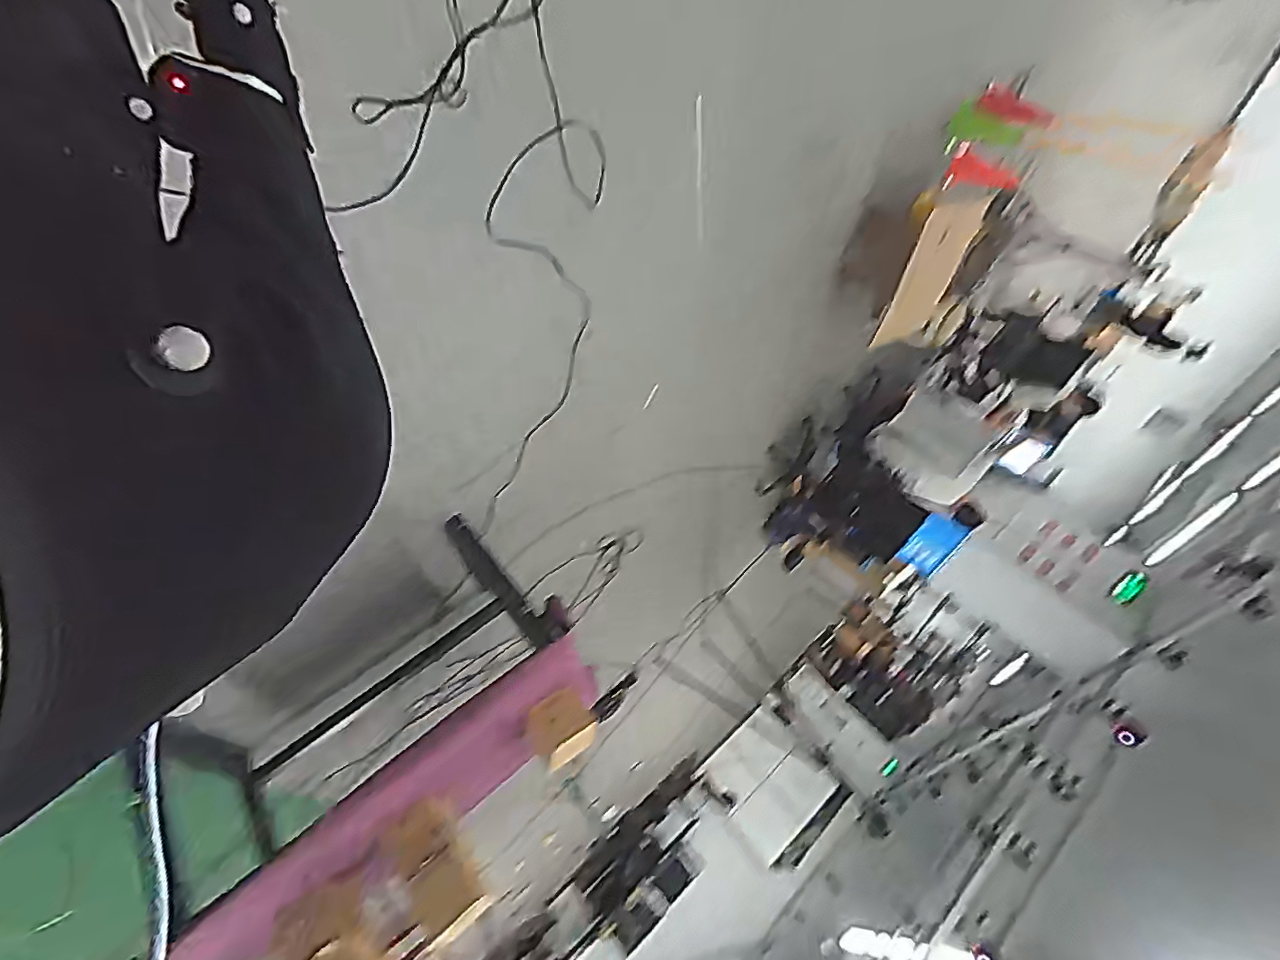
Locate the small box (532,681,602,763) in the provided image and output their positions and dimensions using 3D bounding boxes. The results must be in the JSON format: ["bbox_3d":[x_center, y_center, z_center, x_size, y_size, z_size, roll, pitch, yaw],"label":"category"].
[{"bbox_3d":[-0.255,0.822,1.858,0.168,0.176,0.179,-22,141,-37],"label":"small box"}]

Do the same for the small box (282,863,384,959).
[{"bbox_3d":[-0.885,1.248,1.561,0.168,0.176,0.179,-38,148,-19],"label":"small box"}]

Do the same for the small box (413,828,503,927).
[{"bbox_3d":[-0.536,1.161,1.587,0.168,0.176,0.179,-35,149,-21],"label":"small box"}]

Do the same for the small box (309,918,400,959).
[{"bbox_3d":[-0.781,1.345,1.482,0.168,0.176,0.179,-37,147,-19],"label":"small box"}]
